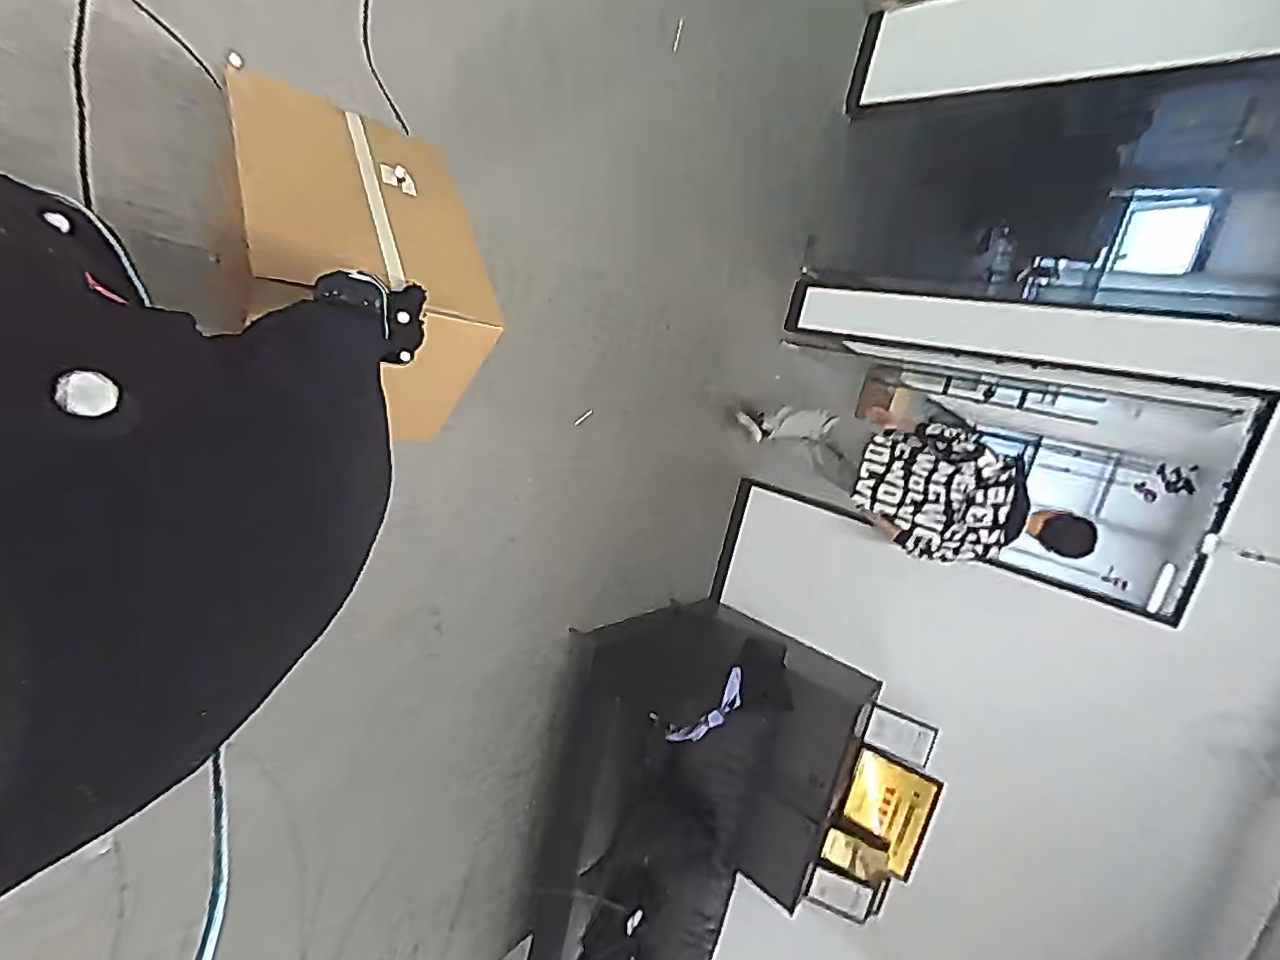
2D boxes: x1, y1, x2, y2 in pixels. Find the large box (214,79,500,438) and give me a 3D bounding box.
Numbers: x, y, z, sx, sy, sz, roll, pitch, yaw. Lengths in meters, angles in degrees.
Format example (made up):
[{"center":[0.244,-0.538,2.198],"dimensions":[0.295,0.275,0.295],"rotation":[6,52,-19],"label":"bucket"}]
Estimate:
[{"center":[-0.476,-0.315,0.878],"dimensions":[0.320,0.408,0.320],"rotation":[0,149,-44],"label":"large box"}]
